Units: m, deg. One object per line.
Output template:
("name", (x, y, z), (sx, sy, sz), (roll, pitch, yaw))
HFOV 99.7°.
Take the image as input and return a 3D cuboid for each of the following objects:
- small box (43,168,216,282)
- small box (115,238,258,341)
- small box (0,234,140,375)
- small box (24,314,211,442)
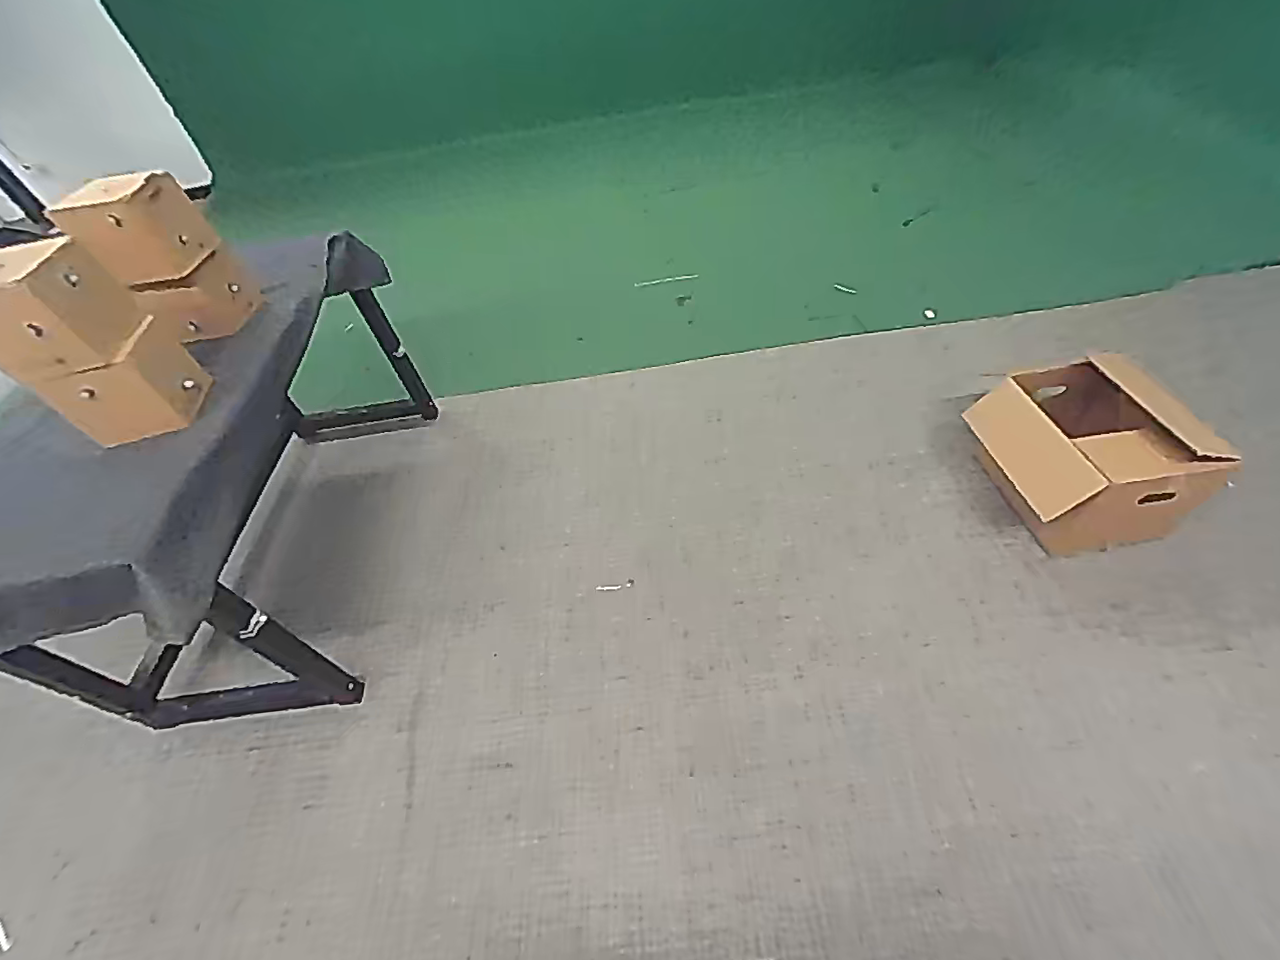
("small box", (-1.093, -0.549, 1.176), (0.179, 0.176, 0.168), (-5, 49, 5))
("small box", (-1.085, -0.461, 1.316), (0.179, 0.176, 0.168), (-7, 49, 3))
("small box", (-1.058, -0.304, 0.959), (0.168, 0.176, 0.179), (-12, 48, -2))
("small box", (-1.022, -0.198, 1.078), (0.179, 0.176, 0.168), (-15, 49, -4))
